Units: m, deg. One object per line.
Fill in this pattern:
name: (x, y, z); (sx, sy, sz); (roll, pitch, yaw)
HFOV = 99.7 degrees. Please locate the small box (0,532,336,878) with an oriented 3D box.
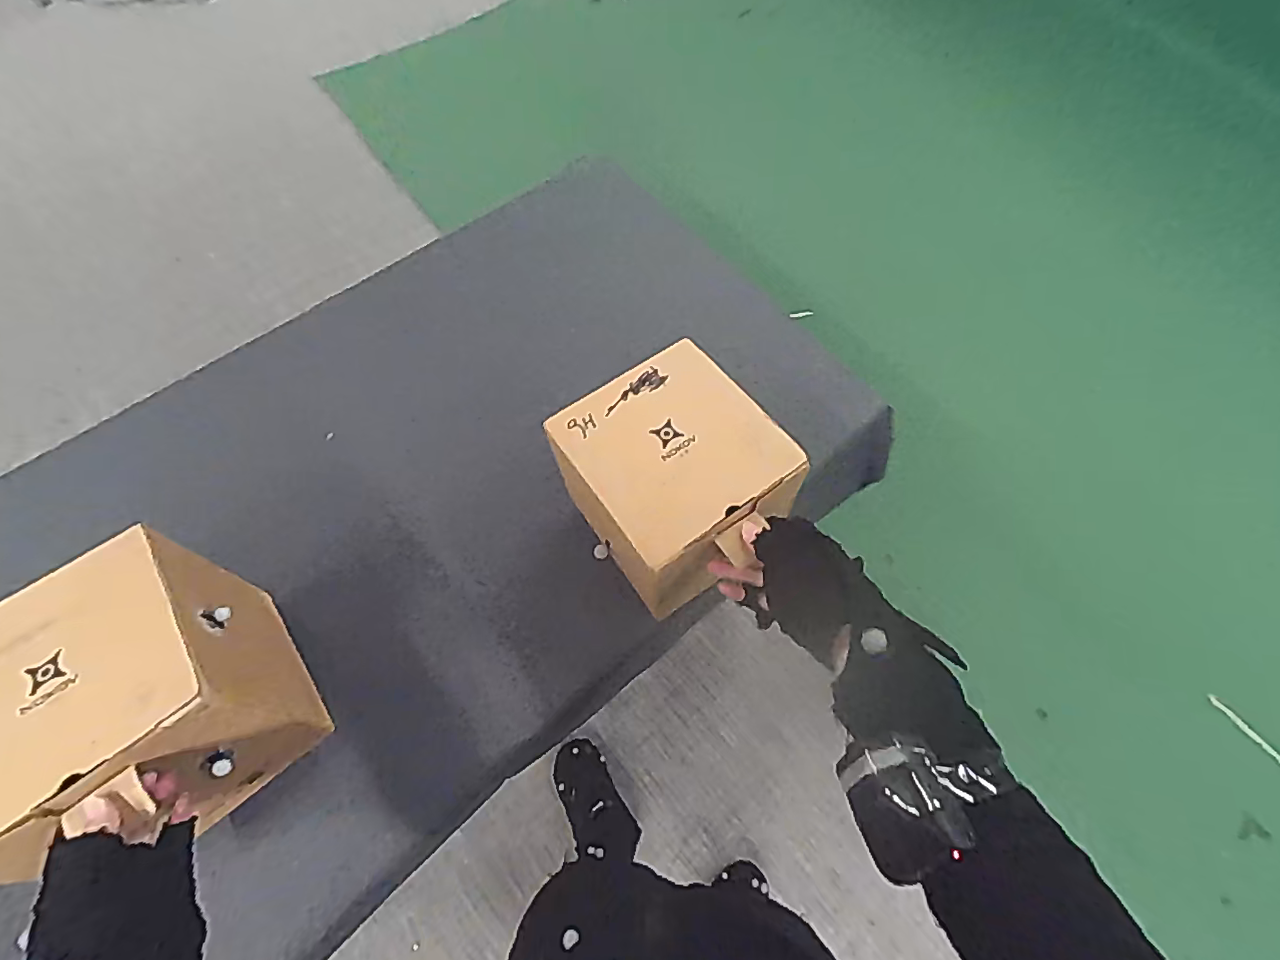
small box: (-0.395, 0.182, 0.450); (0.168, 0.176, 0.179); (-36, 62, -18)

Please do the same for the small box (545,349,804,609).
small box: (0.032, 0.011, 0.545); (0.168, 0.176, 0.179); (-33, 66, -12)
